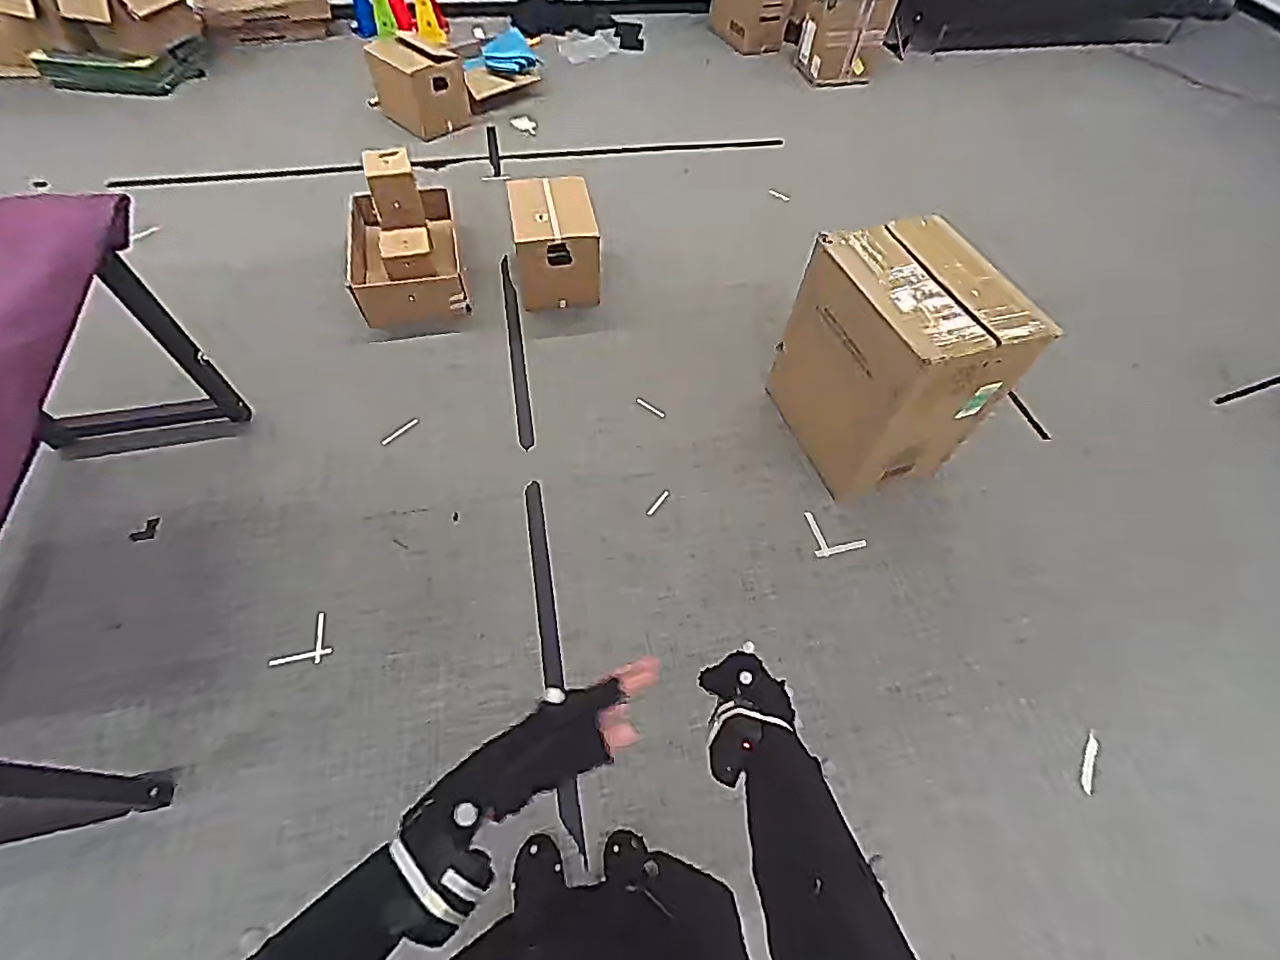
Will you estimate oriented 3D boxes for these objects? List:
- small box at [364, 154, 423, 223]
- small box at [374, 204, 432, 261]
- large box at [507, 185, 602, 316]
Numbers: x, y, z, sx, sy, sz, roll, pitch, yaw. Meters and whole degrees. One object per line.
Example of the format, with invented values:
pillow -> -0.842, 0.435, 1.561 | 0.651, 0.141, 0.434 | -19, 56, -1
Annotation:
small box -> -0.958, -1.135, 2.105 | 0.168, 0.176, 0.179 | -14, 61, -13
small box -> -0.974, -1.036, 2.237 | 0.179, 0.176, 0.168 | -18, 61, -16
large box -> -0.342, -0.927, 2.187 | 0.320, 0.320, 0.408 | -9, 59, -9
